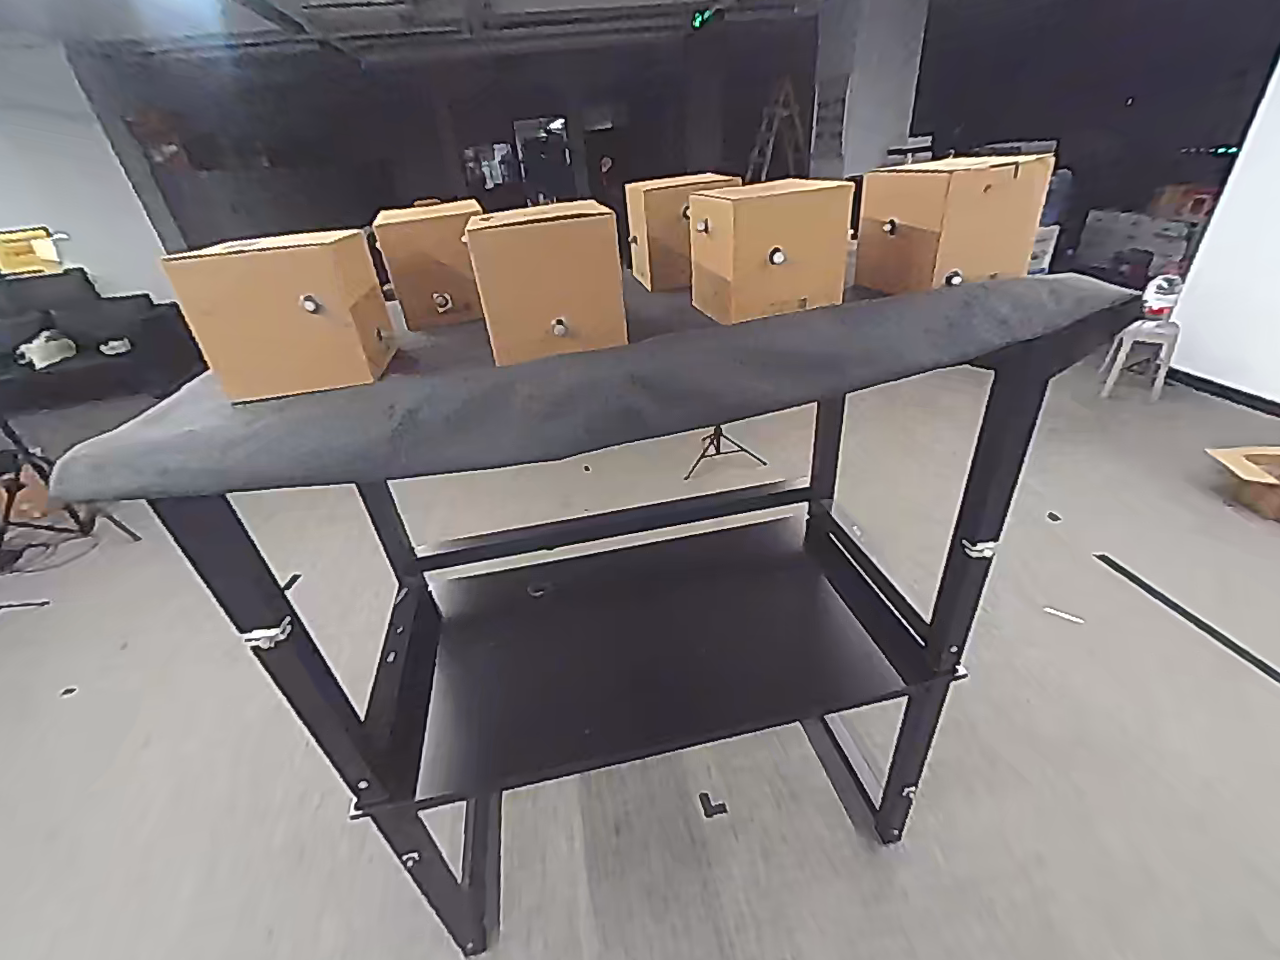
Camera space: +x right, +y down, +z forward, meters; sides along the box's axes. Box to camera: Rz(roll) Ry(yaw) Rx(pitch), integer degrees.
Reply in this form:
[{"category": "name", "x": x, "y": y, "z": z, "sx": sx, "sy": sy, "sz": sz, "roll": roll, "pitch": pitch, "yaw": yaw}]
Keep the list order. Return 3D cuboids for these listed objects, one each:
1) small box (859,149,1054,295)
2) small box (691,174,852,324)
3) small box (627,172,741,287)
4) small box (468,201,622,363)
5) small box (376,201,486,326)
[{"category": "small box", "x": 0.449, "y": -0.379, "z": 0.799, "sx": 0.168, "sy": 0.176, "sz": 0.179, "roll": -14, "pitch": 31, "yaw": -11}, {"category": "small box", "x": 0.179, "y": -0.330, "z": 0.775, "sx": 0.168, "sy": 0.176, "sz": 0.179, "roll": -12, "pitch": 31, "yaw": -8}, {"category": "small box", "x": 0.082, "y": -0.468, "z": 1.009, "sx": 0.179, "sy": 0.176, "sz": 0.168, "roll": -10, "pitch": 33, "yaw": -6}, {"category": "small box", "x": -0.122, "y": -0.272, "z": 0.734, "sx": 0.179, "sy": 0.176, "sz": 0.168, "roll": -10, "pitch": 32, "yaw": -8}, {"category": "small box", "x": -0.337, "y": -0.378, "z": 0.941, "sx": 0.168, "sy": 0.176, "sz": 0.179, "roll": -15, "pitch": 33, "yaw": -12}]
